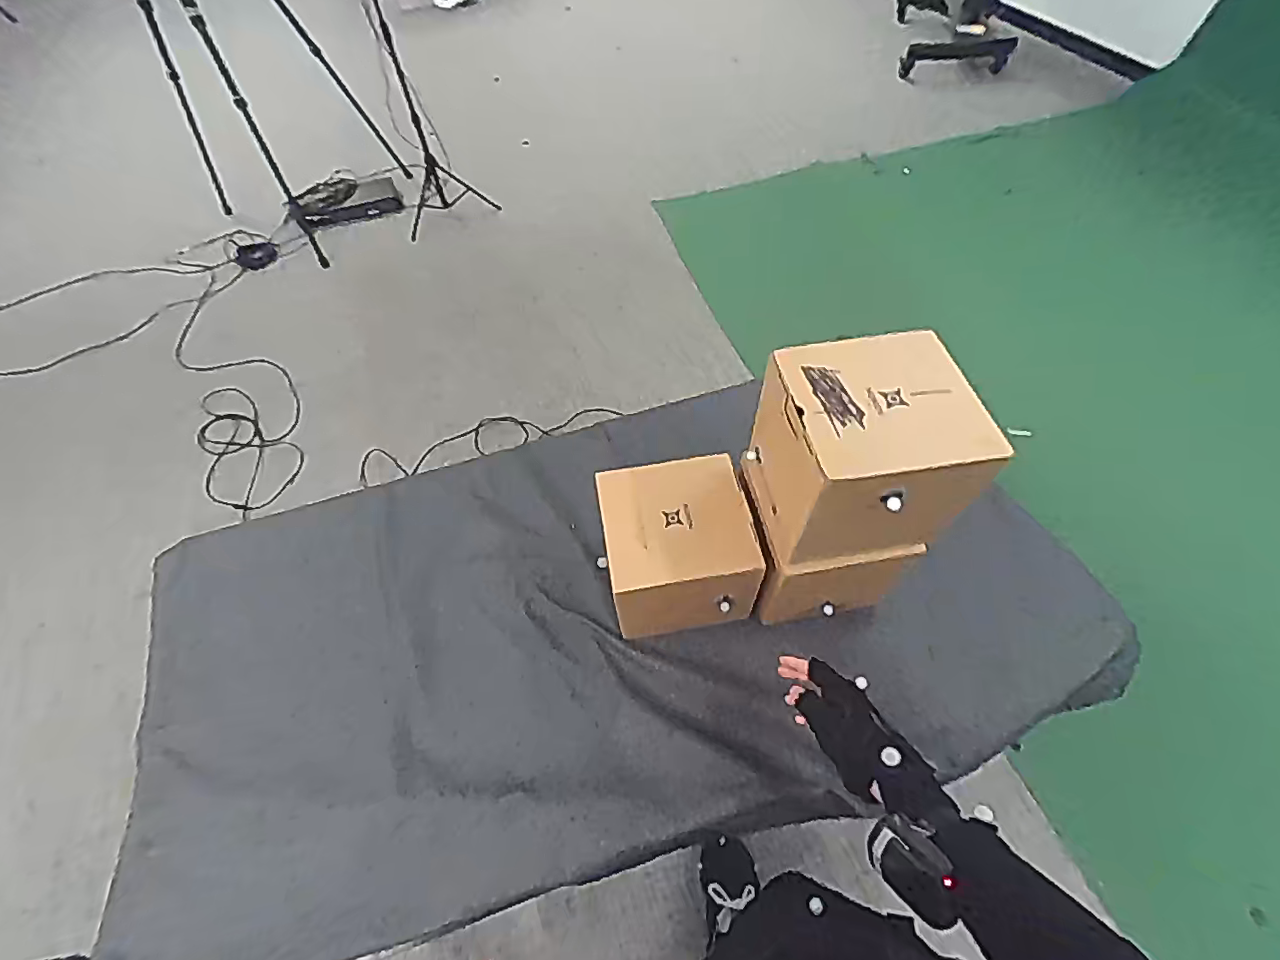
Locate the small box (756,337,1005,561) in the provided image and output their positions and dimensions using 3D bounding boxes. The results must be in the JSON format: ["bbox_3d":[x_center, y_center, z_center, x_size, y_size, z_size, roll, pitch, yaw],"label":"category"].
[{"bbox_3d":[0.231,-0.026,0.583,0.179,0.176,0.168,-8,57,-4],"label":"small box"}]
